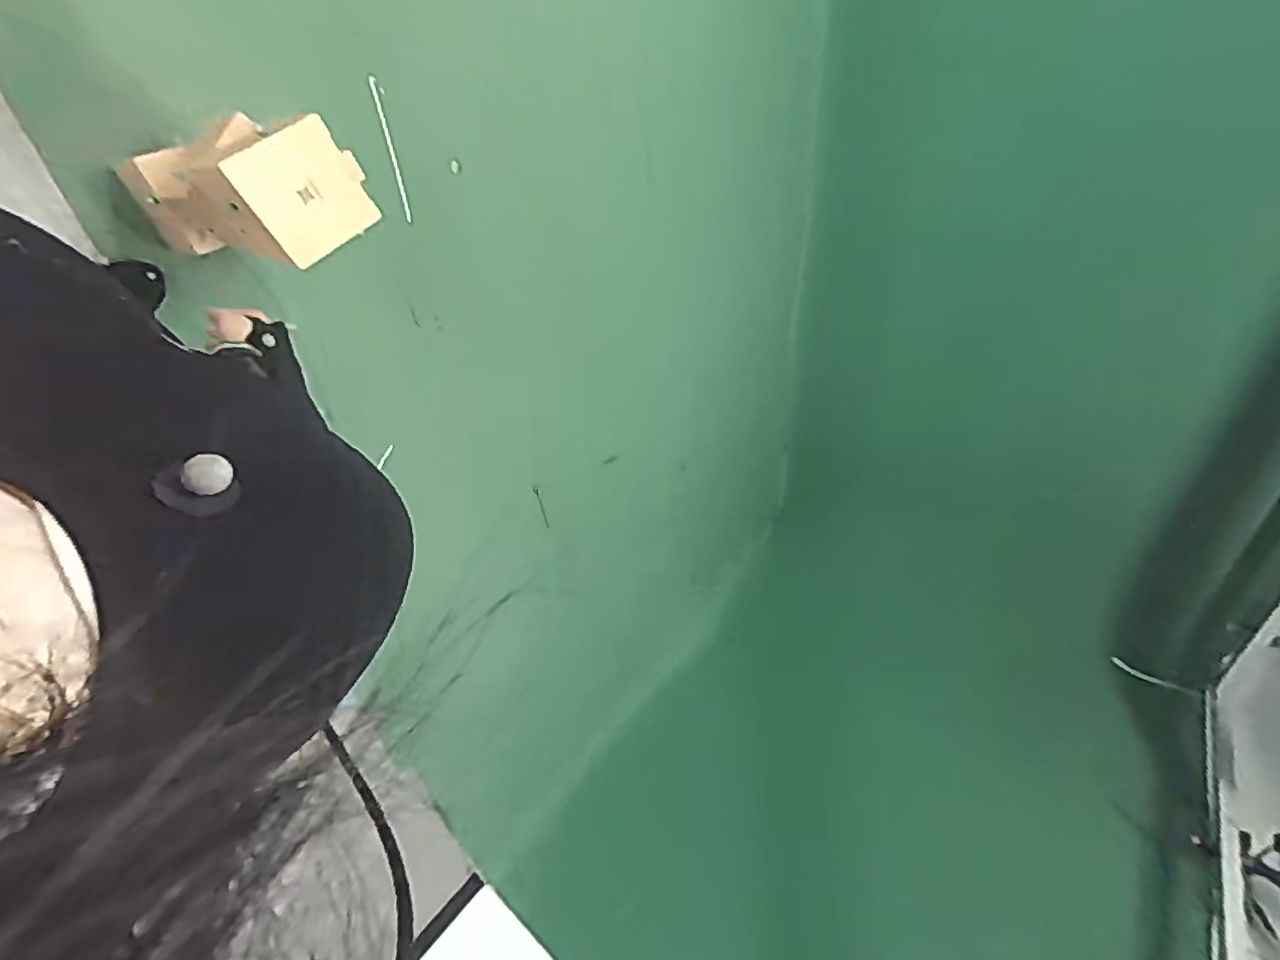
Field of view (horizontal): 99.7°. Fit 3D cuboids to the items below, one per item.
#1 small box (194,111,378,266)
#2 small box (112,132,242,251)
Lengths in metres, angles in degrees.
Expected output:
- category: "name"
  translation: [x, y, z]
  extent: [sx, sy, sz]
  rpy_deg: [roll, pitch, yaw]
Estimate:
- category: "small box"
  translation: [-0.586, -0.477, 0.892]
  extent: [0.179, 0.176, 0.168]
  rpy_deg: [-51, 142, -24]
- category: "small box"
  translation: [-0.859, -0.564, 1.053]
  extent: [0.179, 0.176, 0.168]
  rpy_deg: [-45, 139, -32]
